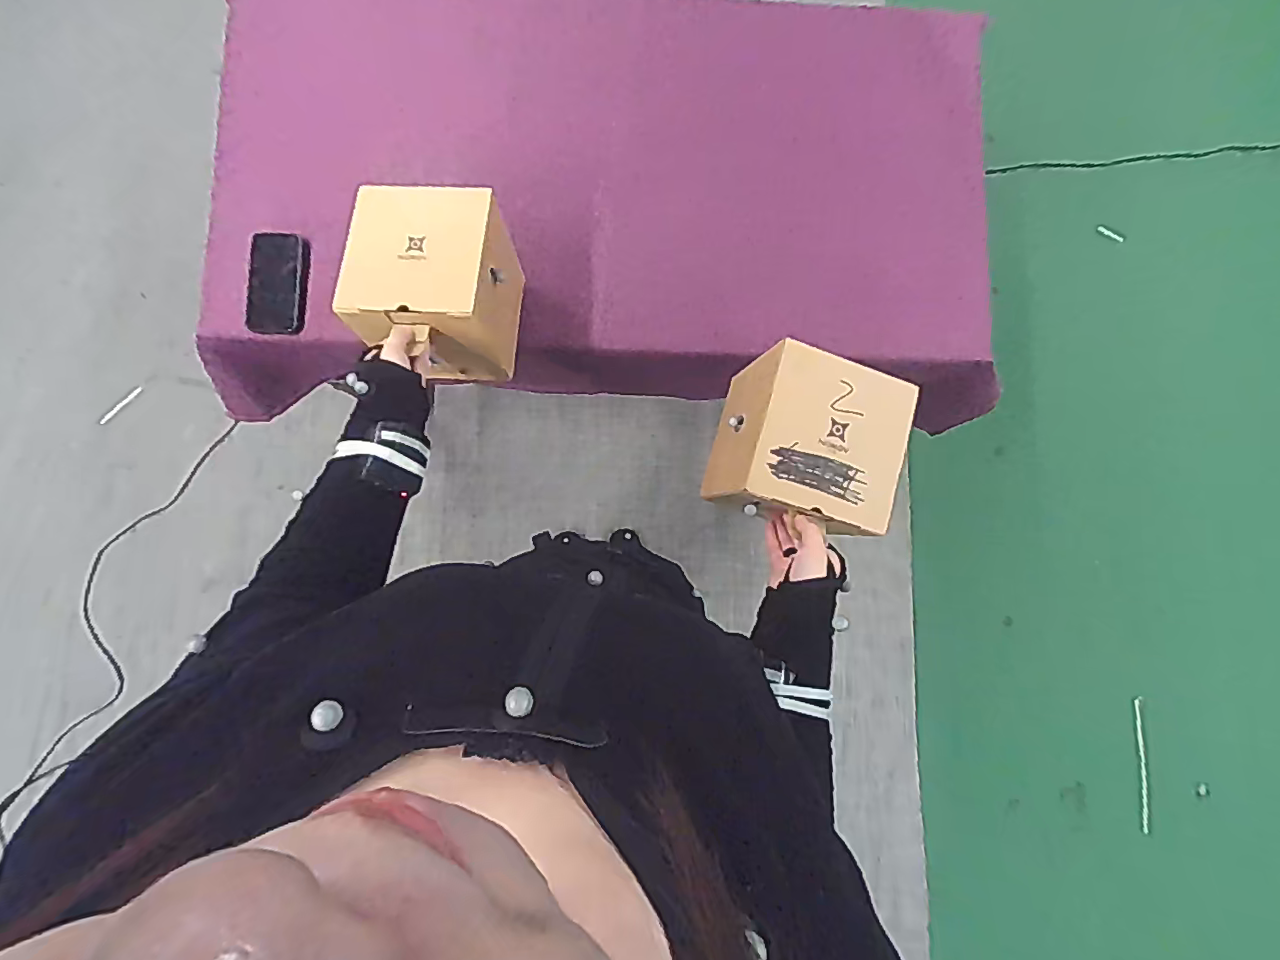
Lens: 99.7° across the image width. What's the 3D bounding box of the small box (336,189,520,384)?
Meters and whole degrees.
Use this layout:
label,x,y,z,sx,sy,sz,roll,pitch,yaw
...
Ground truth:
label,x,y,z,sx,sy,sz,roll,pitch,yaw
small box,-0.261,-0.246,0.713,0.168,0.176,0.179,2,75,1
